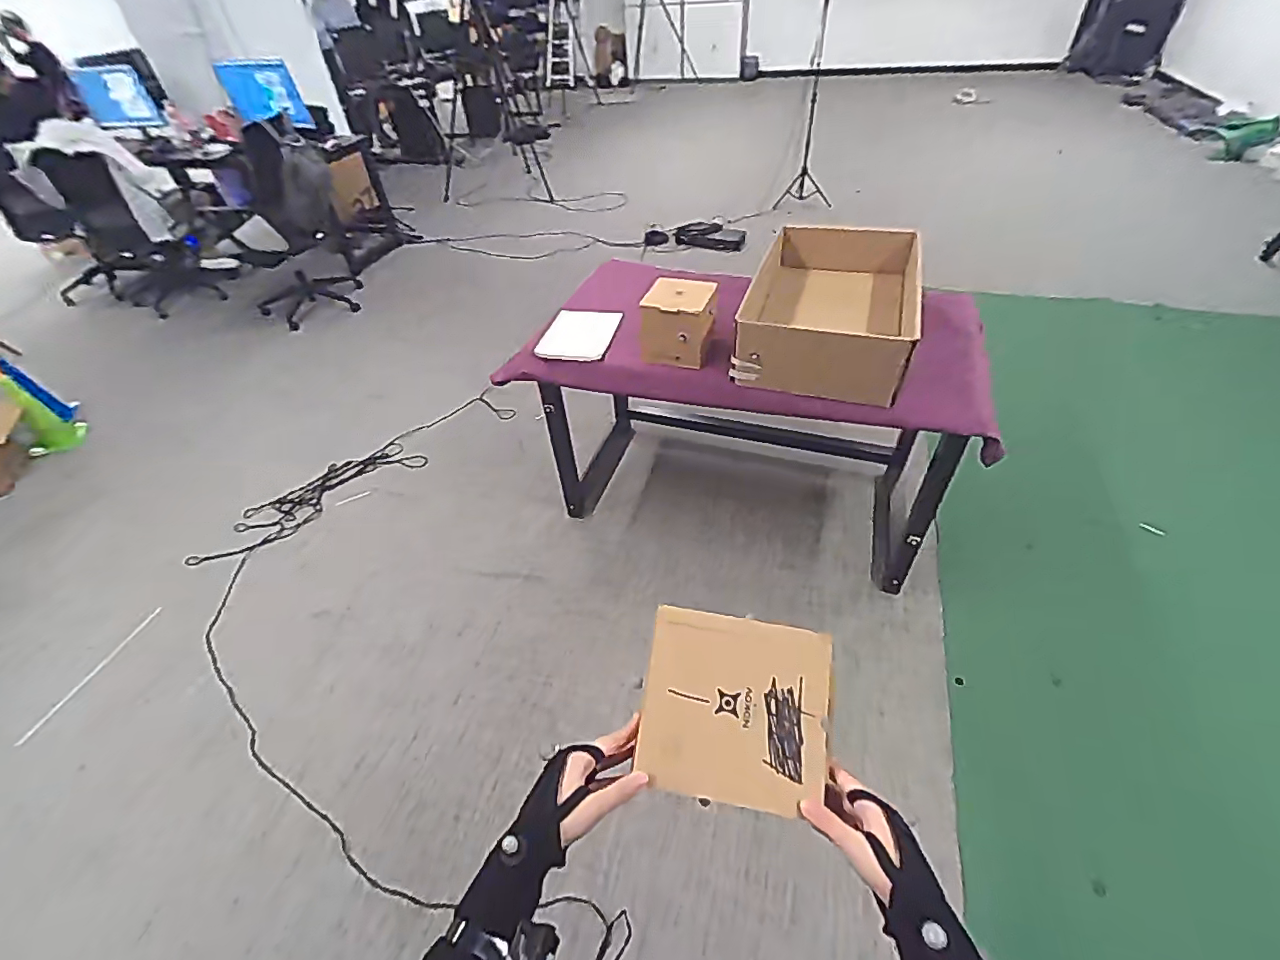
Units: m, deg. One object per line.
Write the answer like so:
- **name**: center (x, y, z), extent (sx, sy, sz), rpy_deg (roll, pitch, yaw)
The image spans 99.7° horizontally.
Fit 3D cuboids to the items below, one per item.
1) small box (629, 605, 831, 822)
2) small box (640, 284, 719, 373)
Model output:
- **small box**: center (0.088, 0.243, 0.584), extent (0.179, 0.176, 0.168), rpy_deg (10, 68, 3)
- **small box**: center (0.111, -0.408, 1.456), extent (0.168, 0.176, 0.179), rpy_deg (13, 45, 17)
